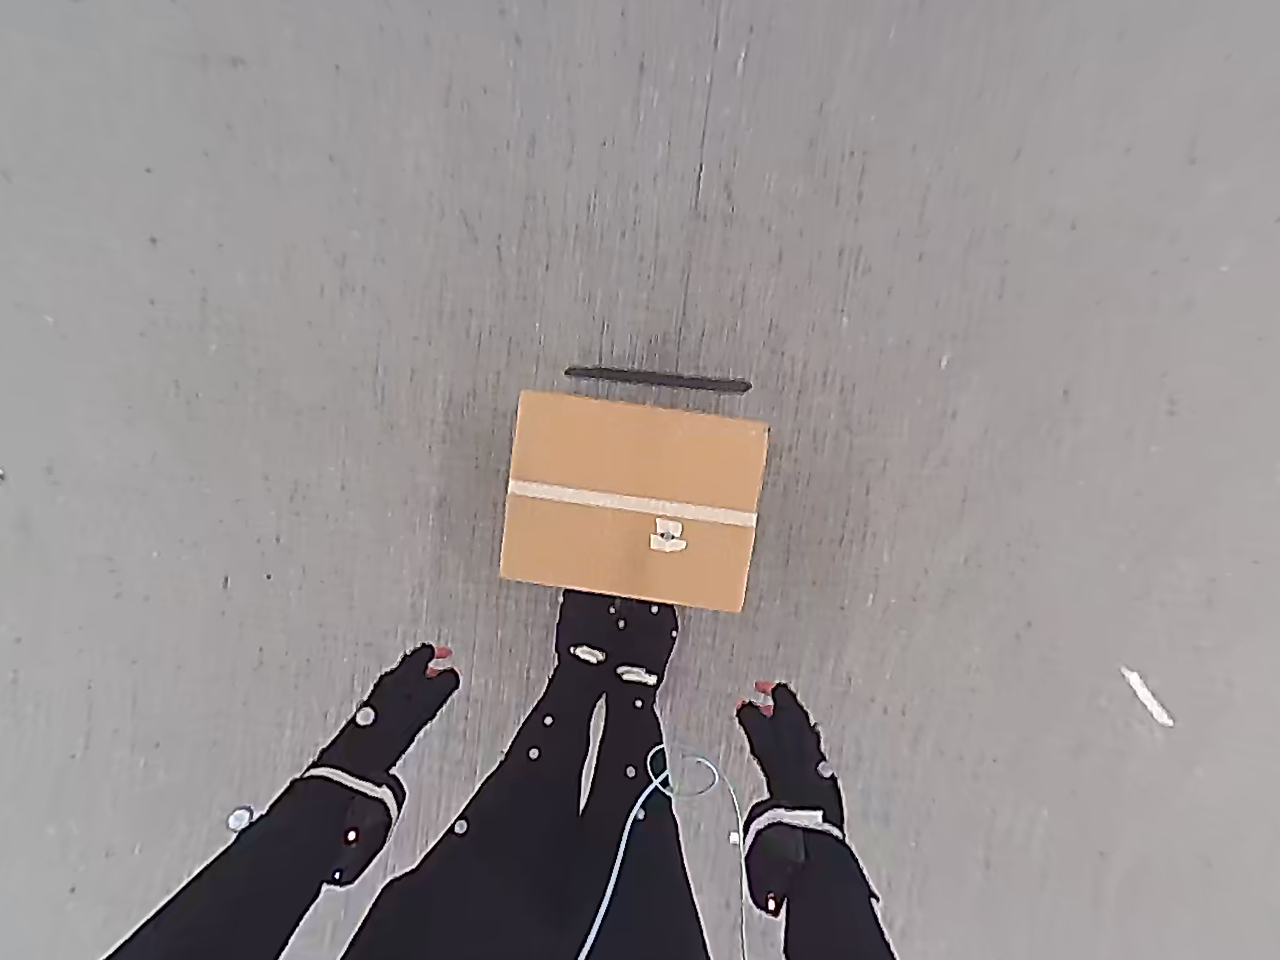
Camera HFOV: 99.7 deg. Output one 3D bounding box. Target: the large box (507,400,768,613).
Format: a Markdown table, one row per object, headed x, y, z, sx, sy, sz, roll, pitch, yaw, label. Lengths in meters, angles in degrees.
| x | y | z | sx | sy | sz | roll | pitch | yaw | label |
| --- | --- | --- | --- | --- | --- | --- | --- | --- | --- |
| -0.005 | 0.036 | 1.030 | 0.408 | 0.320 | 0.320 | 8 | 95 | 1 | large box |
